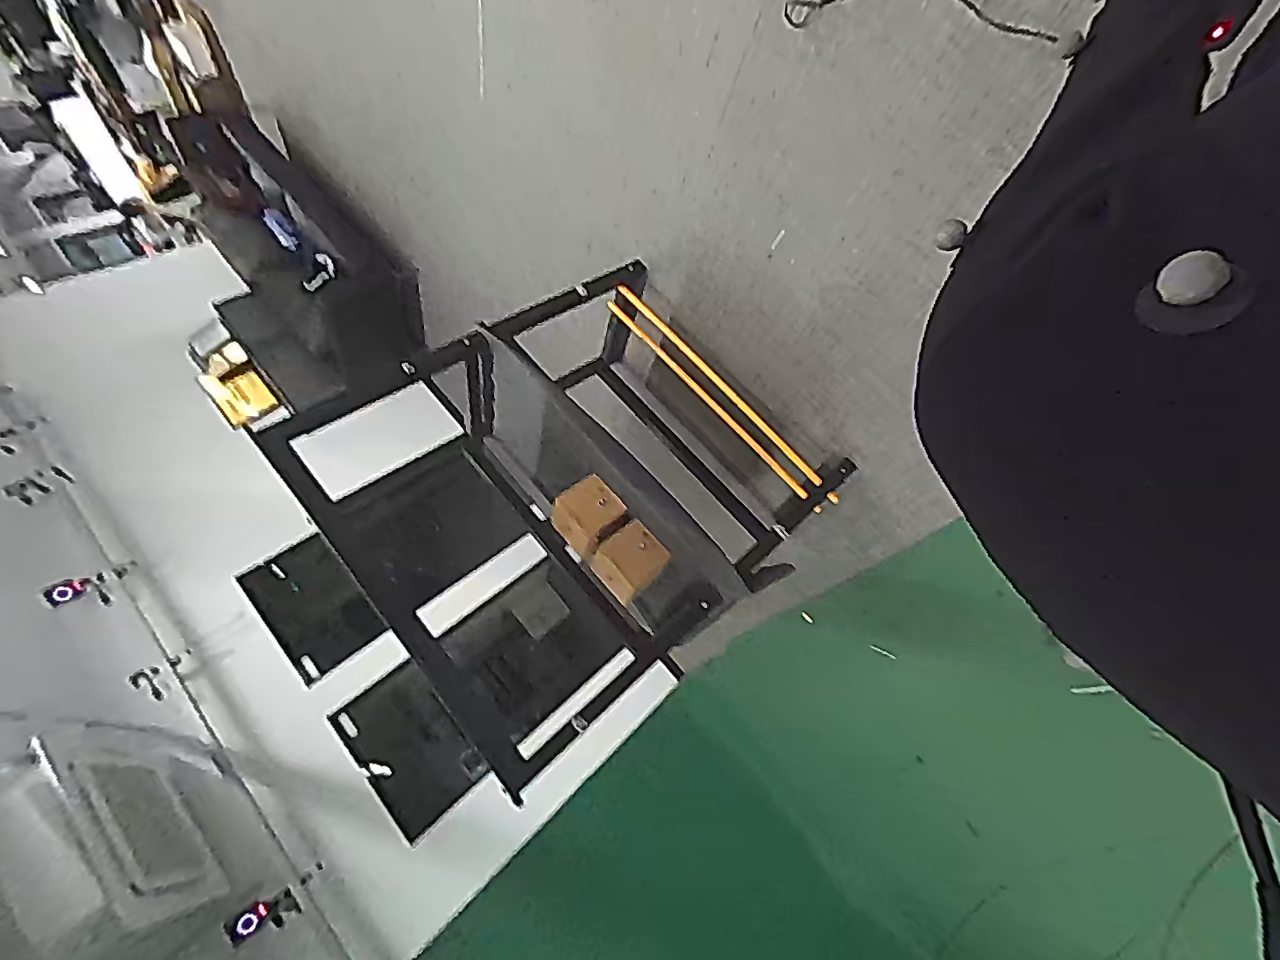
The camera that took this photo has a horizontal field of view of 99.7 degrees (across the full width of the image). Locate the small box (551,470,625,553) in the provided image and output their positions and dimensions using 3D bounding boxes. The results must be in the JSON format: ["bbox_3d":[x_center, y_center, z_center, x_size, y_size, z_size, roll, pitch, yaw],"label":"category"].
[{"bbox_3d":[-0.168,0.102,1.755,0.168,0.176,0.179,45,150,14],"label":"small box"}]

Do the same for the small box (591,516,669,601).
[{"bbox_3d":[-0.032,0.244,1.701,0.168,0.176,0.179,46,150,14],"label":"small box"}]
